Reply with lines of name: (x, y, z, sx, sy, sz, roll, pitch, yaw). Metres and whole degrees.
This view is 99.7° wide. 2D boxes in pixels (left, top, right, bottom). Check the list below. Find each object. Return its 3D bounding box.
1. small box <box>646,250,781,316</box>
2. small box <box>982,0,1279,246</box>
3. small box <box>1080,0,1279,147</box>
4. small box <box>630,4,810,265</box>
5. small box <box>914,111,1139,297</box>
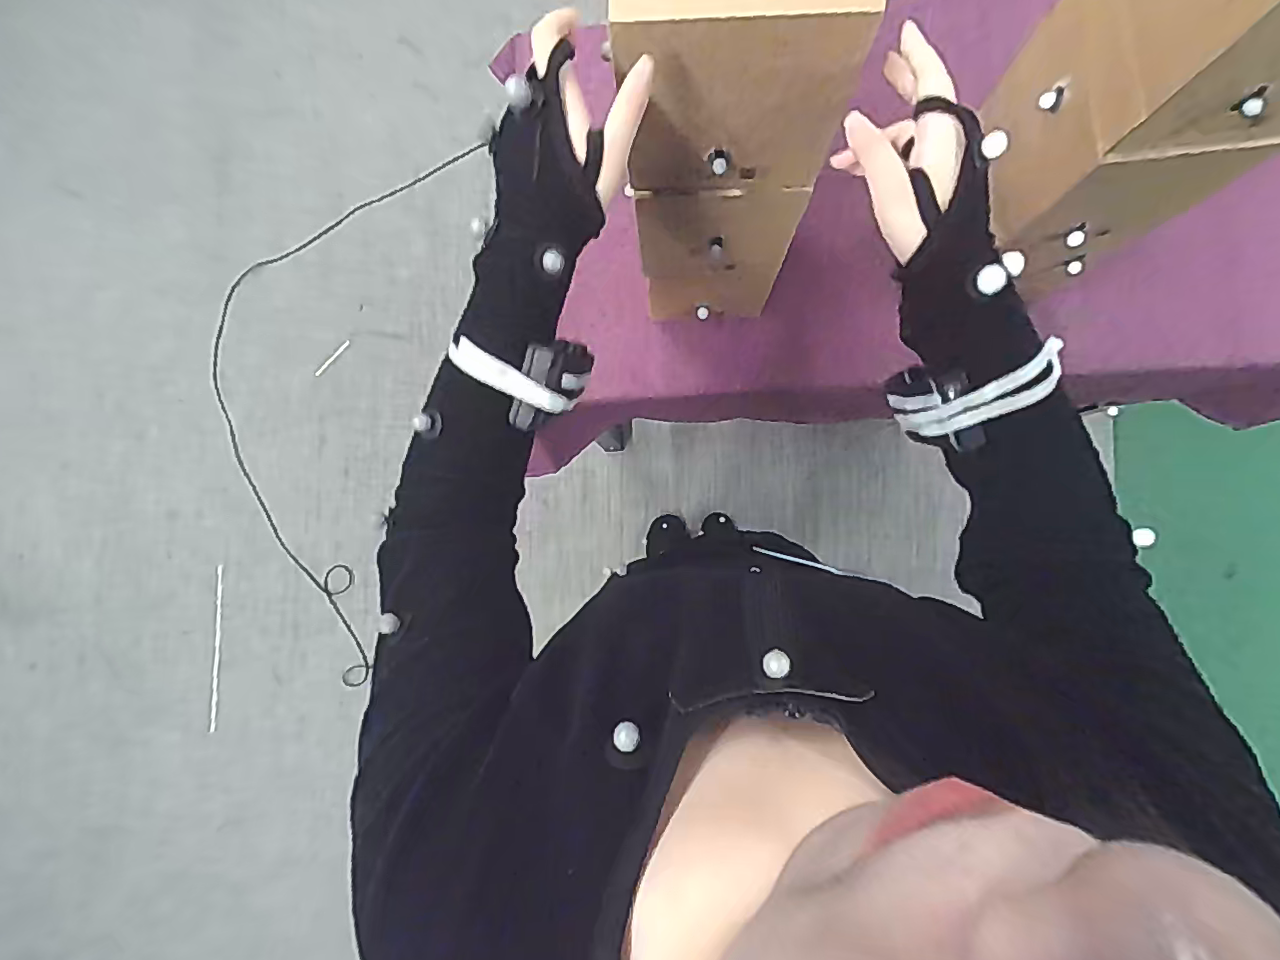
small box: (0.092, -0.341, 0.738, 0.168, 0.176, 0.179, -1, 87, 4)
small box: (0.478, -0.368, 0.549, 0.168, 0.176, 0.179, -4, 86, 5)
small box: (0.463, -0.384, 0.388, 0.168, 0.176, 0.179, -6, 87, 4)
small box: (0.078, -0.343, 0.575, 0.168, 0.176, 0.179, -1, 87, 3)
small box: (0.490, -0.355, 0.711, 0.179, 0.176, 0.168, -3, 86, 4)
